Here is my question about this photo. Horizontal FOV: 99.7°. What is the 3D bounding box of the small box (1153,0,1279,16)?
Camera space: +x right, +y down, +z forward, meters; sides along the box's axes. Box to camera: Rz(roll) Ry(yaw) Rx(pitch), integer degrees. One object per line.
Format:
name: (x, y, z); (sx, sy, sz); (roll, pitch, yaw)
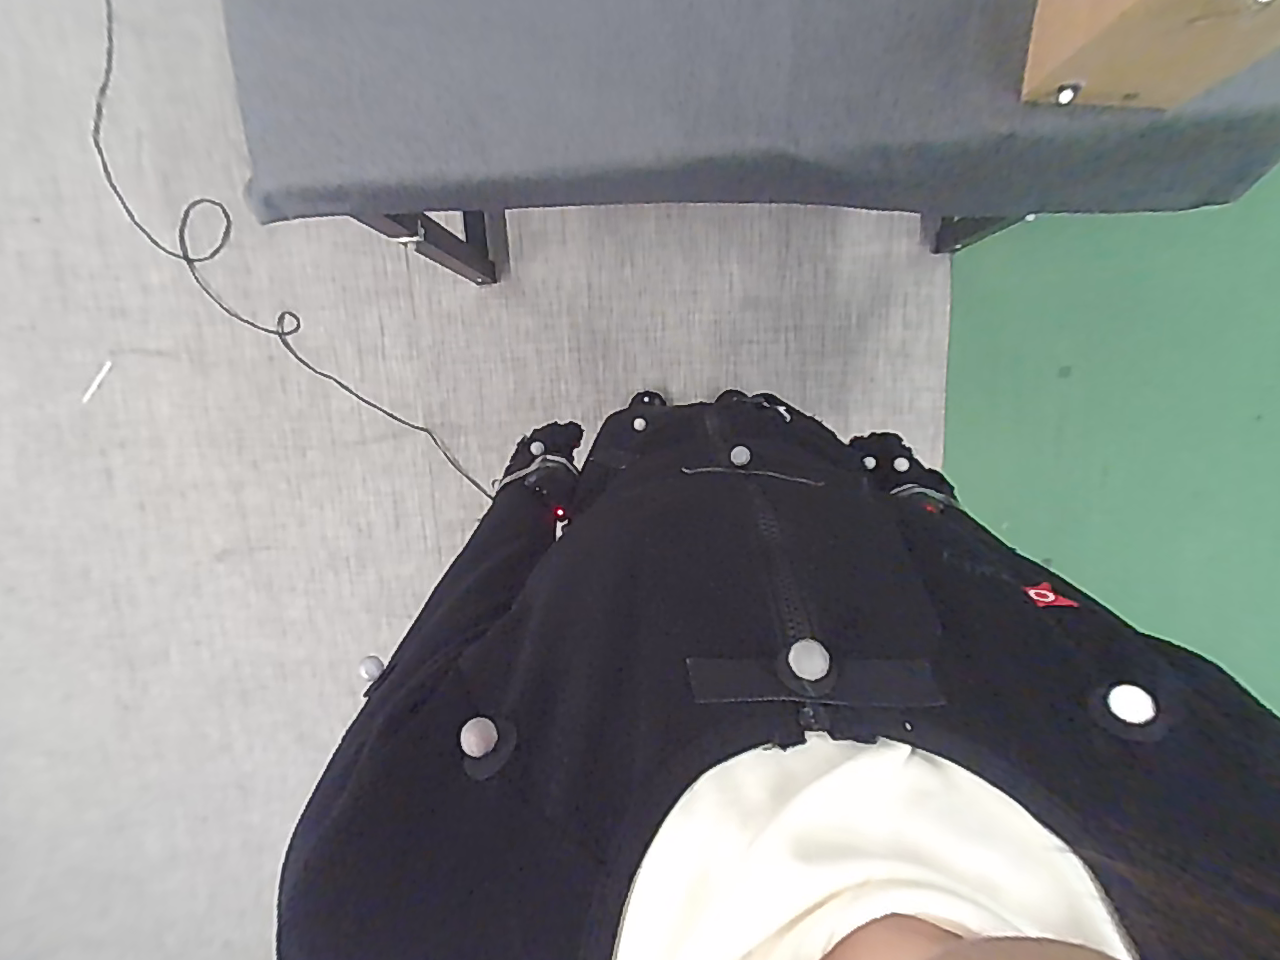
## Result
small box: (0.496, -0.462, 0.356); (0.168, 0.176, 0.179); (6, 101, 3)

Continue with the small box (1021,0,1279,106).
small box: (0.506, -0.492, 0.514); (0.168, 0.176, 0.179); (5, 99, 2)
